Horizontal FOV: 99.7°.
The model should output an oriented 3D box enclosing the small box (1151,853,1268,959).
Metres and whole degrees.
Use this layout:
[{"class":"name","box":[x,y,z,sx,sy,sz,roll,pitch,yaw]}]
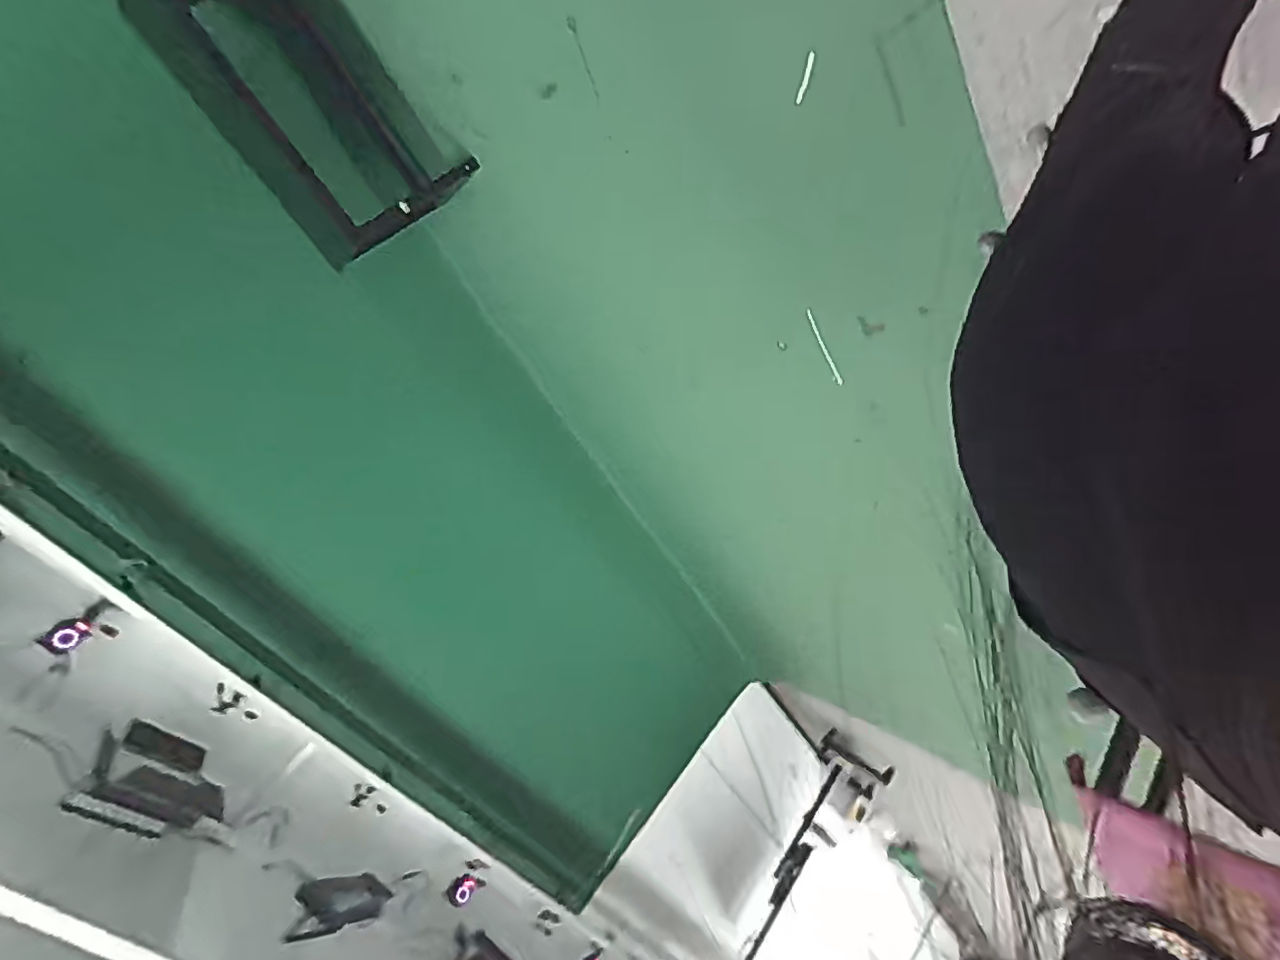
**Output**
[{"class":"small box","box":[1.347,1.037,1.281,0.168,0.176,0.179,11,143,54]}]
